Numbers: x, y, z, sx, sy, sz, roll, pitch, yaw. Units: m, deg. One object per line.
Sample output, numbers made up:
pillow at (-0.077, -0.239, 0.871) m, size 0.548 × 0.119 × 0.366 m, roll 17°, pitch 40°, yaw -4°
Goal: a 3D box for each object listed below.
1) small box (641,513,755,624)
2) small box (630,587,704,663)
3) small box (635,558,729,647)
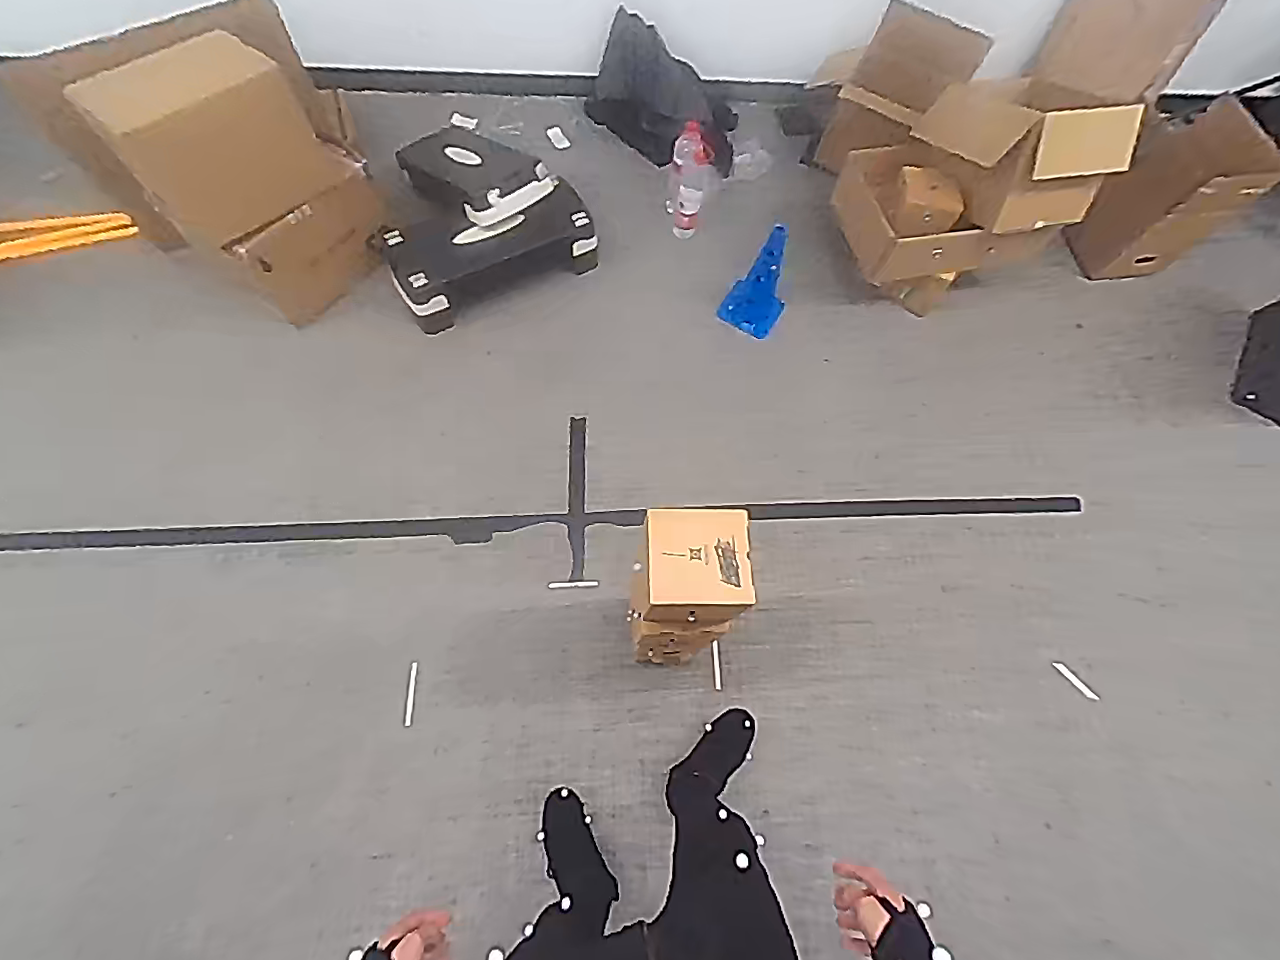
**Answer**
small box at (0.096, 0.165, 0.977) m, size 0.179 × 0.176 × 0.168 m, roll 1°, pitch 67°, yaw -3°
small box at (0.064, 0.378, 1.419) m, size 0.168 × 0.176 × 0.179 m, roll -4°, pitch 69°, yaw -5°
small box at (0.079, 0.246, 1.120) m, size 0.168 × 0.176 × 0.179 m, roll 0°, pitch 68°, yaw -5°
